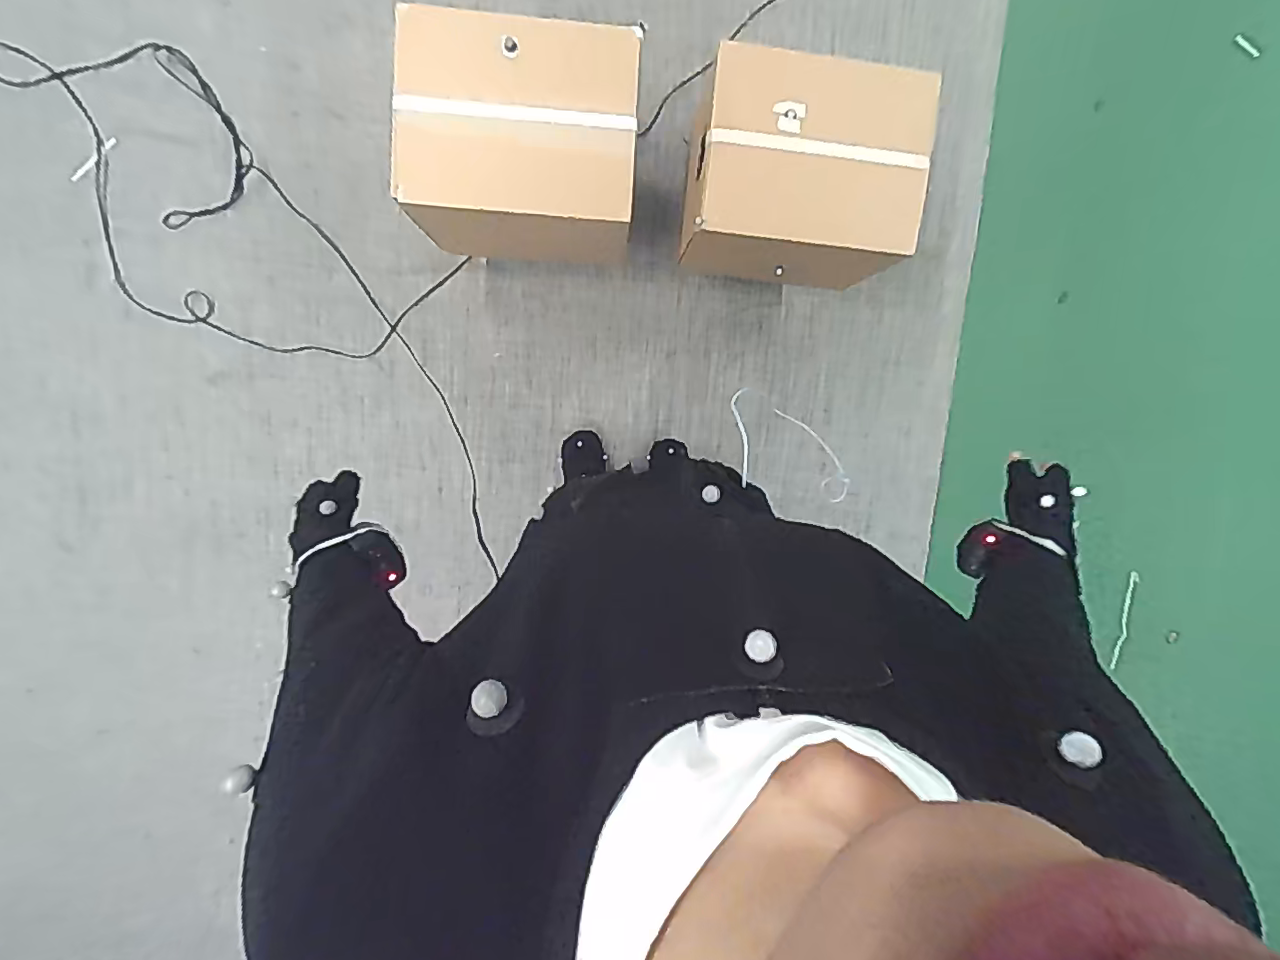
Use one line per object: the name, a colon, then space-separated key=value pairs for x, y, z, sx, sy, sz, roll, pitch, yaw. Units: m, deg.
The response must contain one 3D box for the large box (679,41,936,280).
large box: x=0.311 y=-0.617 z=1.116 sx=0.408 sy=0.320 sz=0.320 roll=5 pitch=97 yaw=-4
